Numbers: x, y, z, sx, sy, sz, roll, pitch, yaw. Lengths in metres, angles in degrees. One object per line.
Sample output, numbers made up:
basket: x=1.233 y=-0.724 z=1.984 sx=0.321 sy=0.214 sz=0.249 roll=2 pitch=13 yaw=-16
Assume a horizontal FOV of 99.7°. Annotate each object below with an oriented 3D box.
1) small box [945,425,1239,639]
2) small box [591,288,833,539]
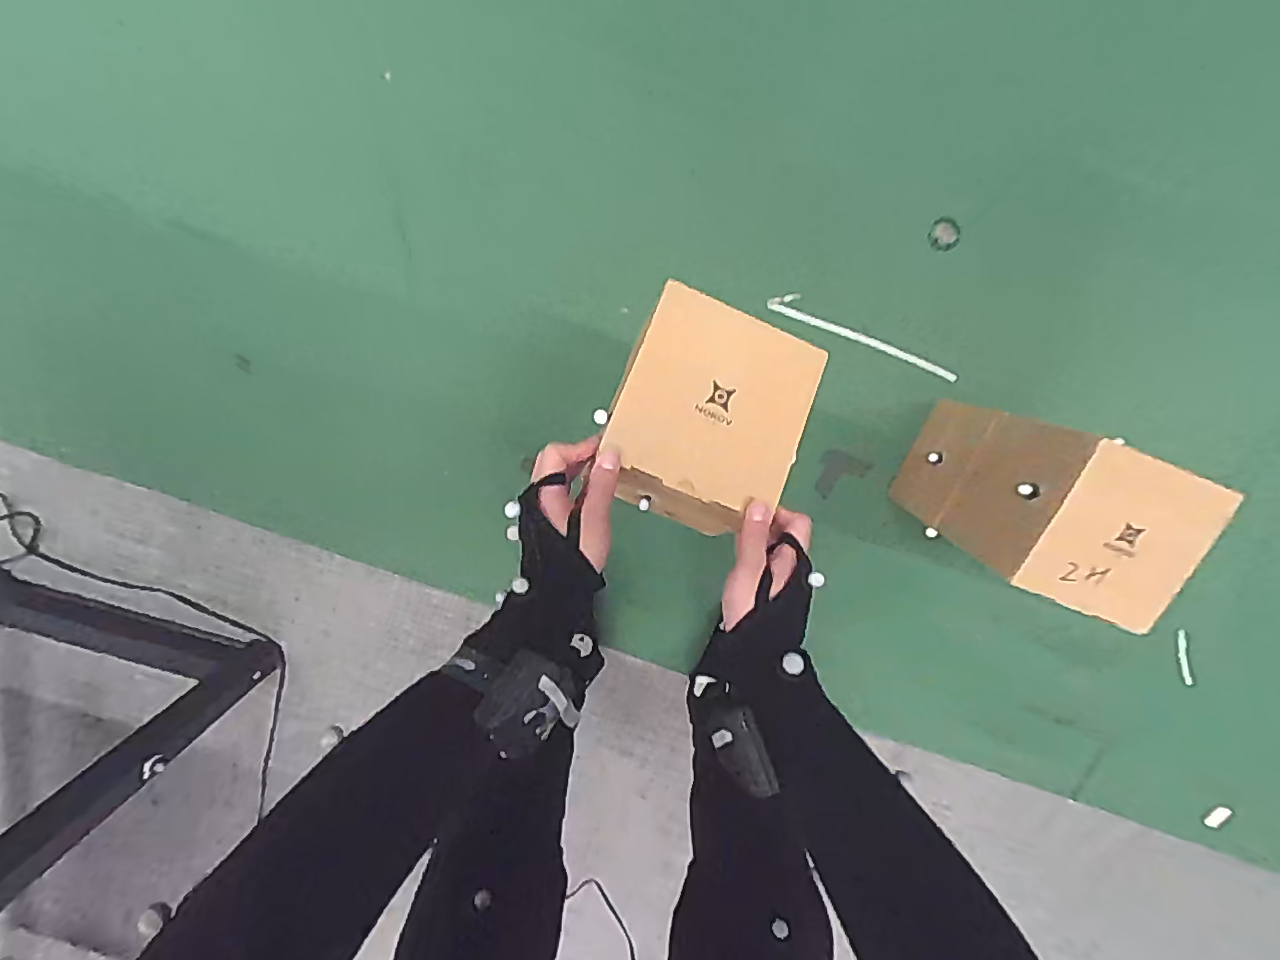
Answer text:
small box: x=0.506 y=0.048 z=0.641 sx=0.168 sy=0.176 sz=0.179 roll=22 pitch=105 yaw=-3
small box: x=0.058 y=-0.051 z=0.544 sx=0.168 sy=0.176 sz=0.179 roll=22 pitch=81 yaw=-7
